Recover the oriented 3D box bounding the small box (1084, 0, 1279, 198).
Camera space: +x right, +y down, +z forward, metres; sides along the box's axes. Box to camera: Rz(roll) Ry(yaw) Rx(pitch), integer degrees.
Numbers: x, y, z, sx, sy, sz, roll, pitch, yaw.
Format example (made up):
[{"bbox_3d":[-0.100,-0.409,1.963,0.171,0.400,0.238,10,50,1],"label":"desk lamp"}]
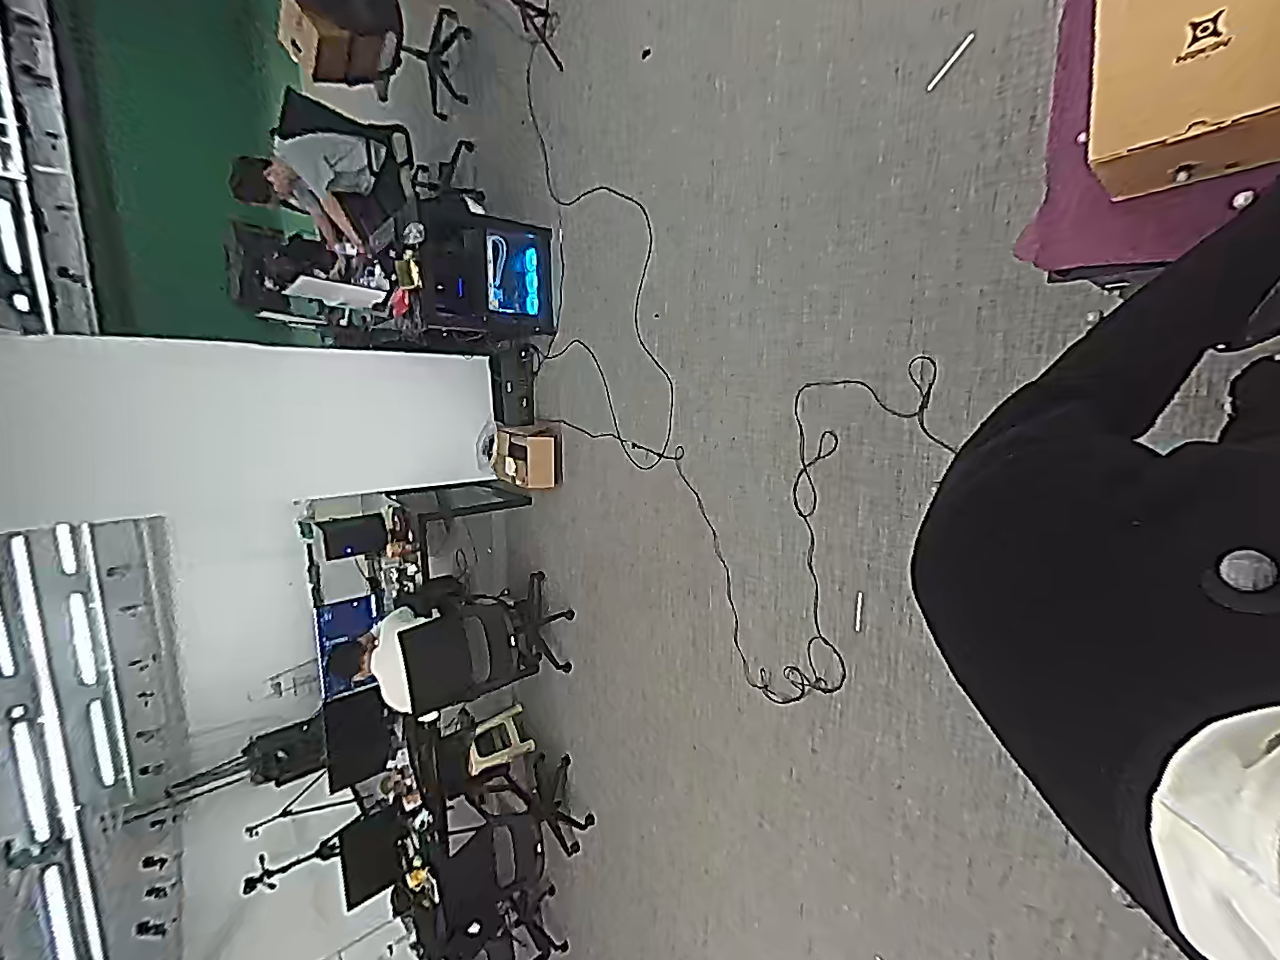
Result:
[{"bbox_3d":[0.583,-0.424,0.560,0.168,0.176,0.179,4,100,48],"label":"small box"}]
